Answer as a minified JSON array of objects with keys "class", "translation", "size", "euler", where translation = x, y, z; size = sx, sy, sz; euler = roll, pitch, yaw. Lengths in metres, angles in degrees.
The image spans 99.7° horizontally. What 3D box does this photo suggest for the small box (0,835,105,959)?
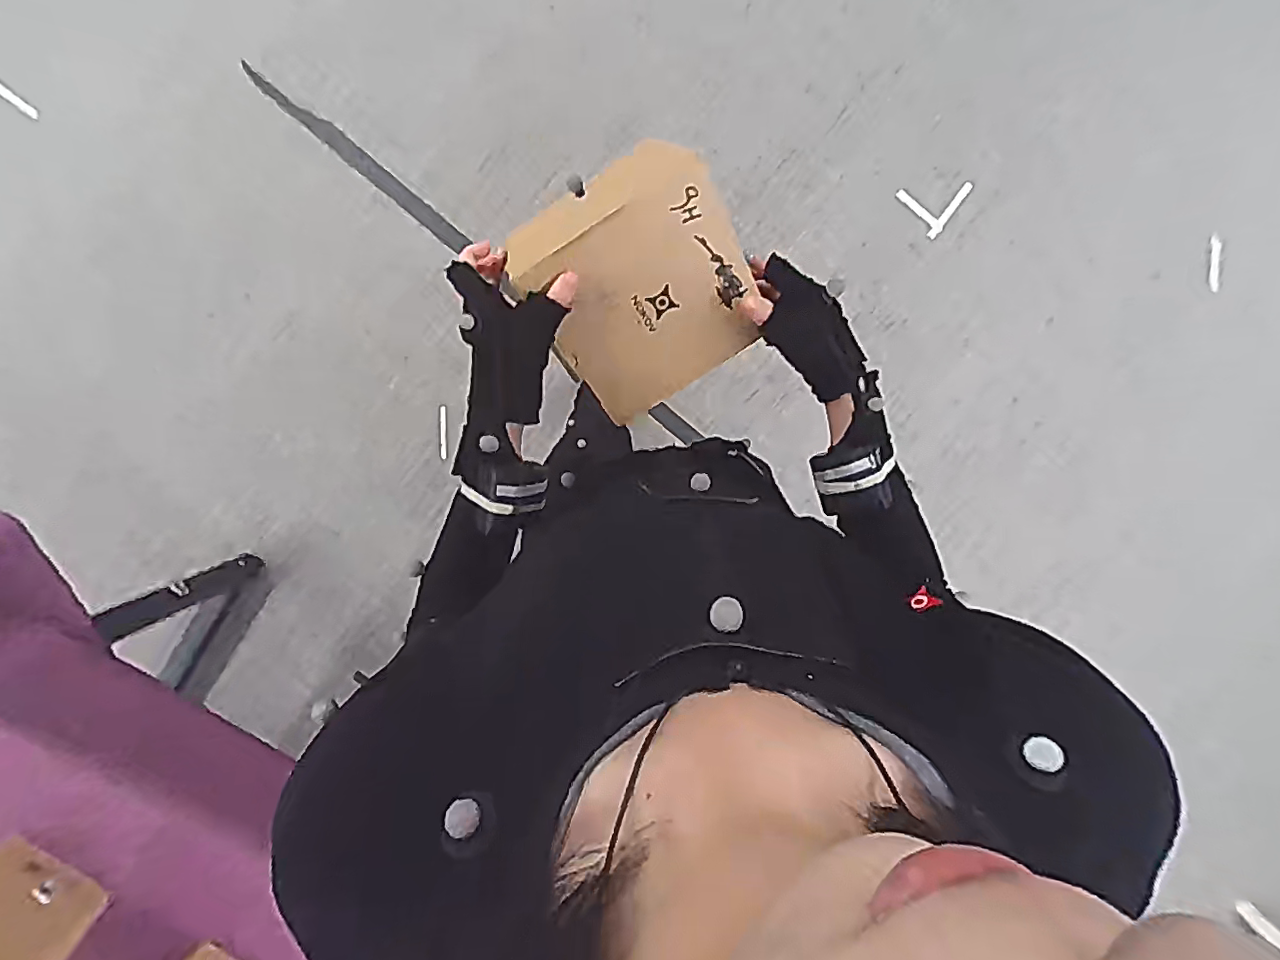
[{"class":"small box","translation":[-0.870,0.620,0.698],"size":[0.168,0.176,0.179],"euler":[37,93,-8]}]
